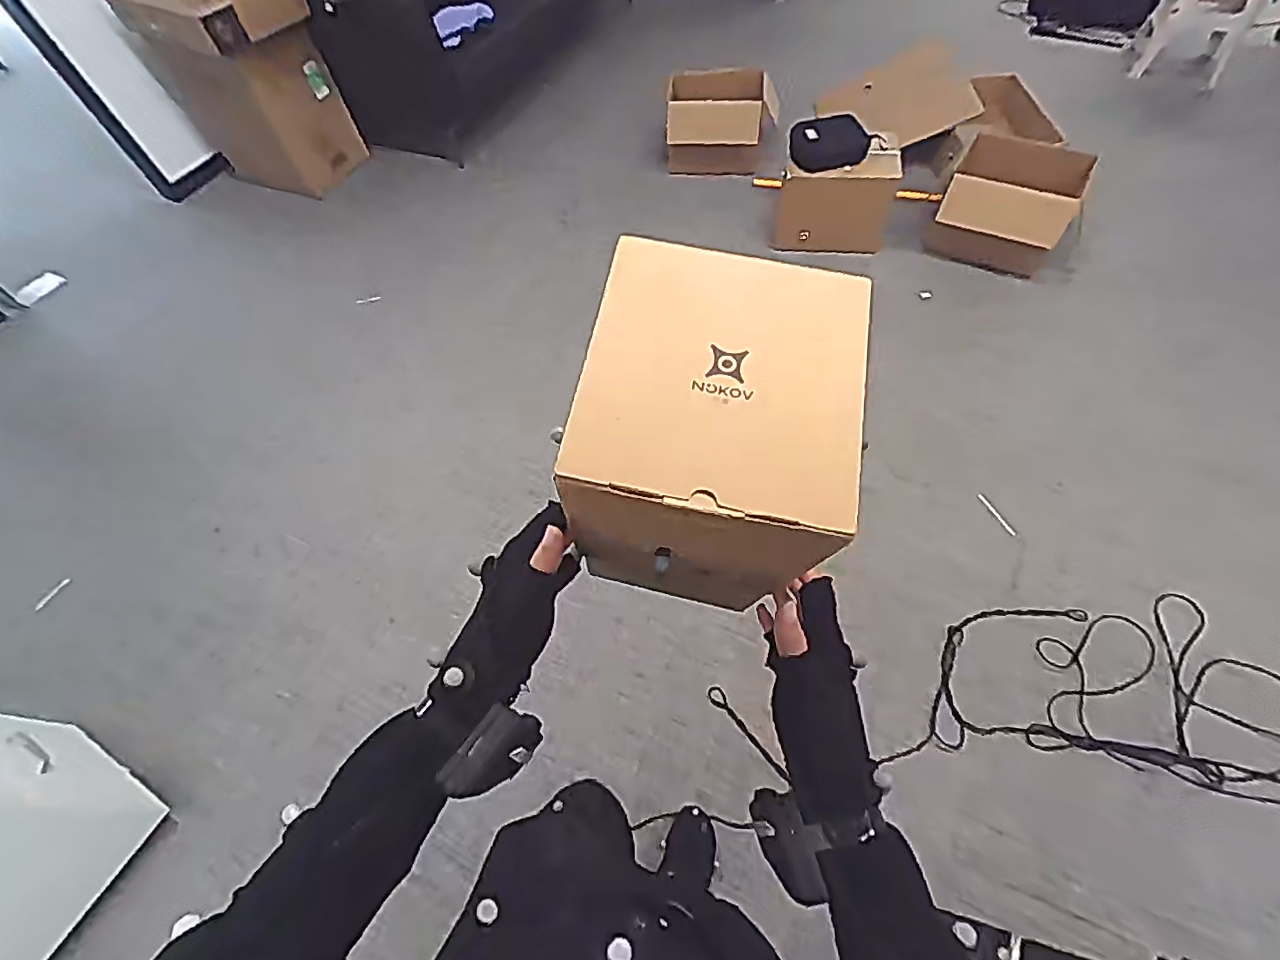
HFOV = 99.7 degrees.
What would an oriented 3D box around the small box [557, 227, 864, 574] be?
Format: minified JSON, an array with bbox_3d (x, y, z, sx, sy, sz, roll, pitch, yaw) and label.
[{"bbox_3d":[0.046,-0.043,0.397,0.168,0.176,0.179,11,70,2],"label":"small box"}]

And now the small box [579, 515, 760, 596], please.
[{"bbox_3d":[0.048,0.011,0.549,0.179,0.176,0.168,13,69,3],"label":"small box"}]
